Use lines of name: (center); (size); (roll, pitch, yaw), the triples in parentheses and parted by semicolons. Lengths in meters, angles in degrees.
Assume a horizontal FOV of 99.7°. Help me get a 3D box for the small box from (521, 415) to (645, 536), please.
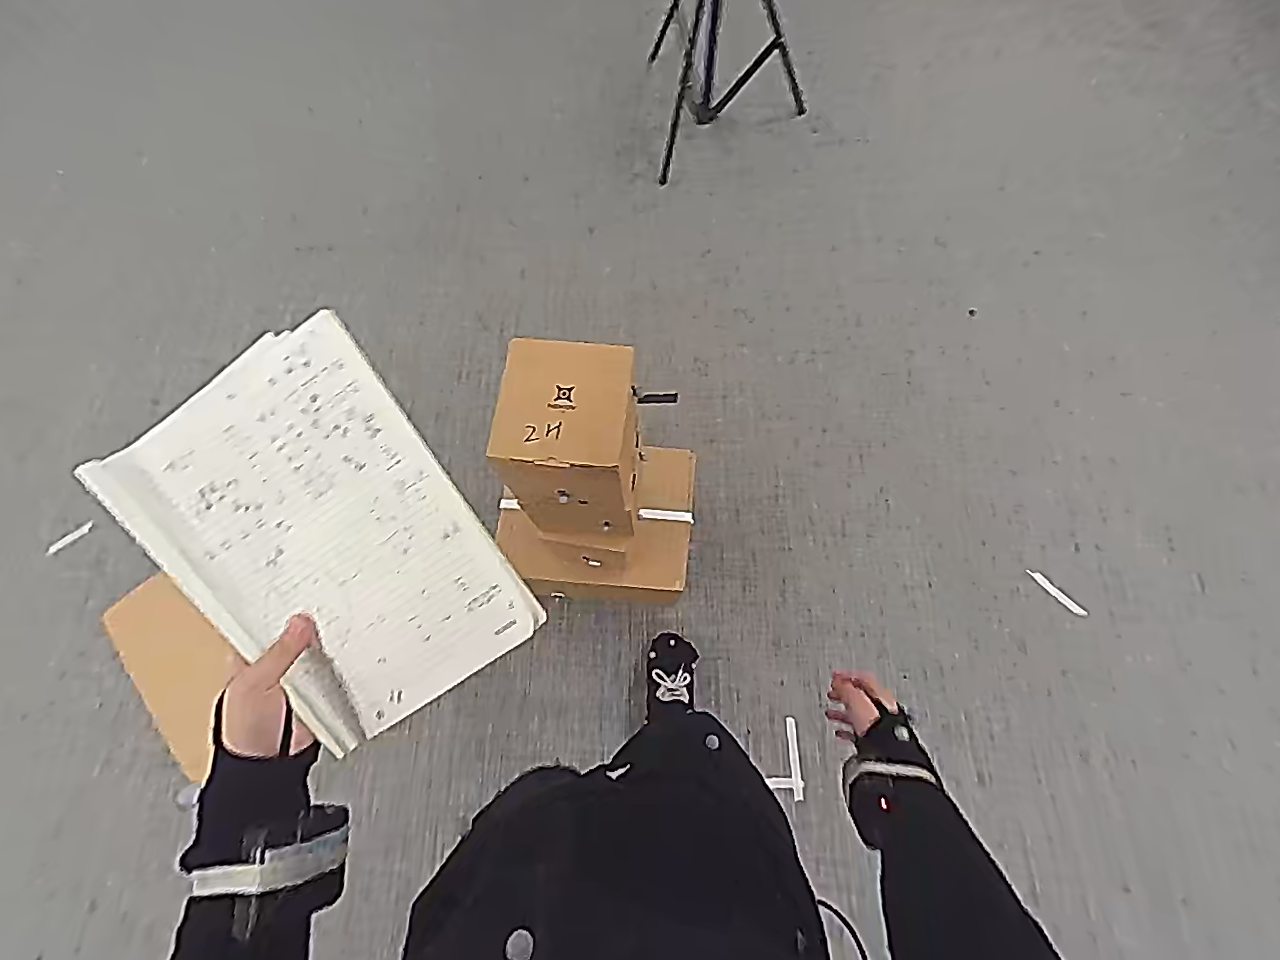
small box: (-0.084, -0.006, 0.905); (0.179, 0.176, 0.168); (3, 70, 4)

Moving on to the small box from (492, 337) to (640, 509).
small box: (-0.089, -0.073, 0.754); (0.168, 0.176, 0.179); (5, 71, 4)
